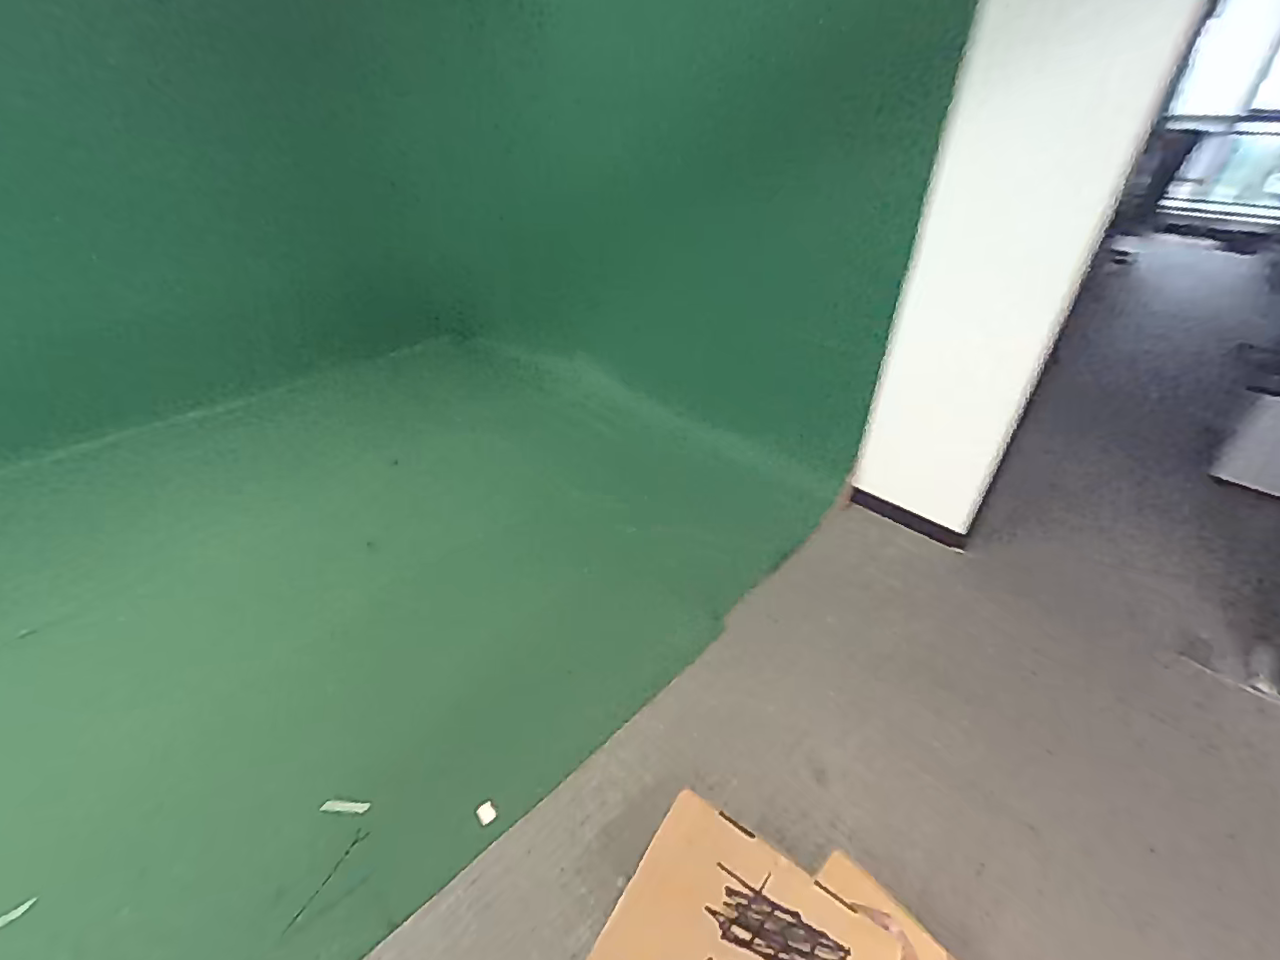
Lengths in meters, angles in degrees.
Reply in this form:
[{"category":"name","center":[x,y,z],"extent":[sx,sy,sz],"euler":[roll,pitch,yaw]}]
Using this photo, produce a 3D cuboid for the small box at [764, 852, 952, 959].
[{"category":"small box","center":[0.278,0.664,0.728],"extent":[0.179,0.176,0.168],"euler":[-28,44,-30]}]
